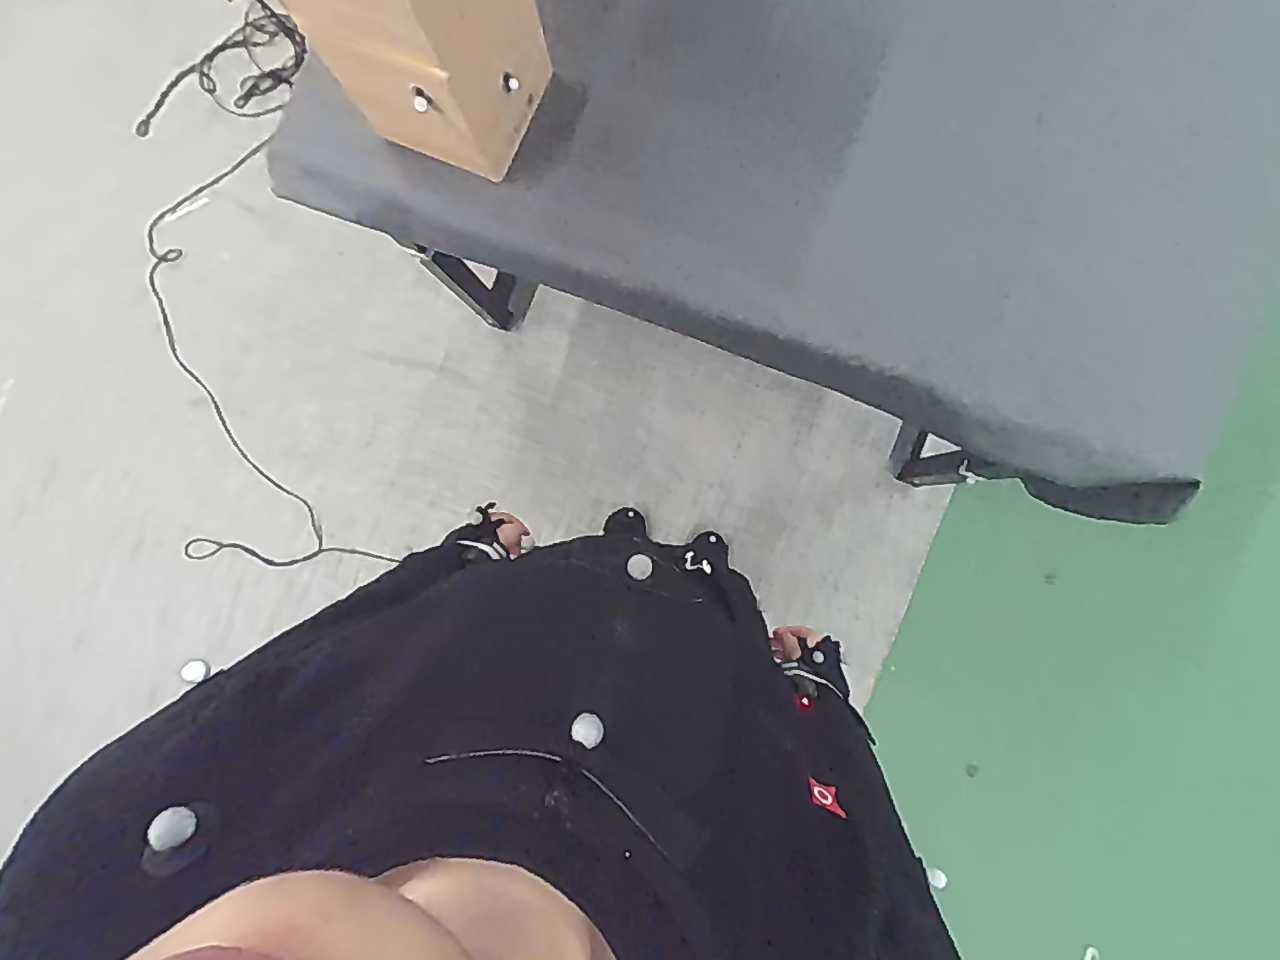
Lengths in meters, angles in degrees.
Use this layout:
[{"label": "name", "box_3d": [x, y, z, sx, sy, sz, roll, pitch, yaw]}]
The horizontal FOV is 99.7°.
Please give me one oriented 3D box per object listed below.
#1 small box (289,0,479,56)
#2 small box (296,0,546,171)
[{"label": "small box", "box_3d": [-0.238, -0.505, 0.447, 0.179, 0.176, 0.168, 20, 88, 5]}, {"label": "small box", "box_3d": [-0.226, -0.491, 0.610, 0.179, 0.176, 0.168, 24, 87, 5]}]
